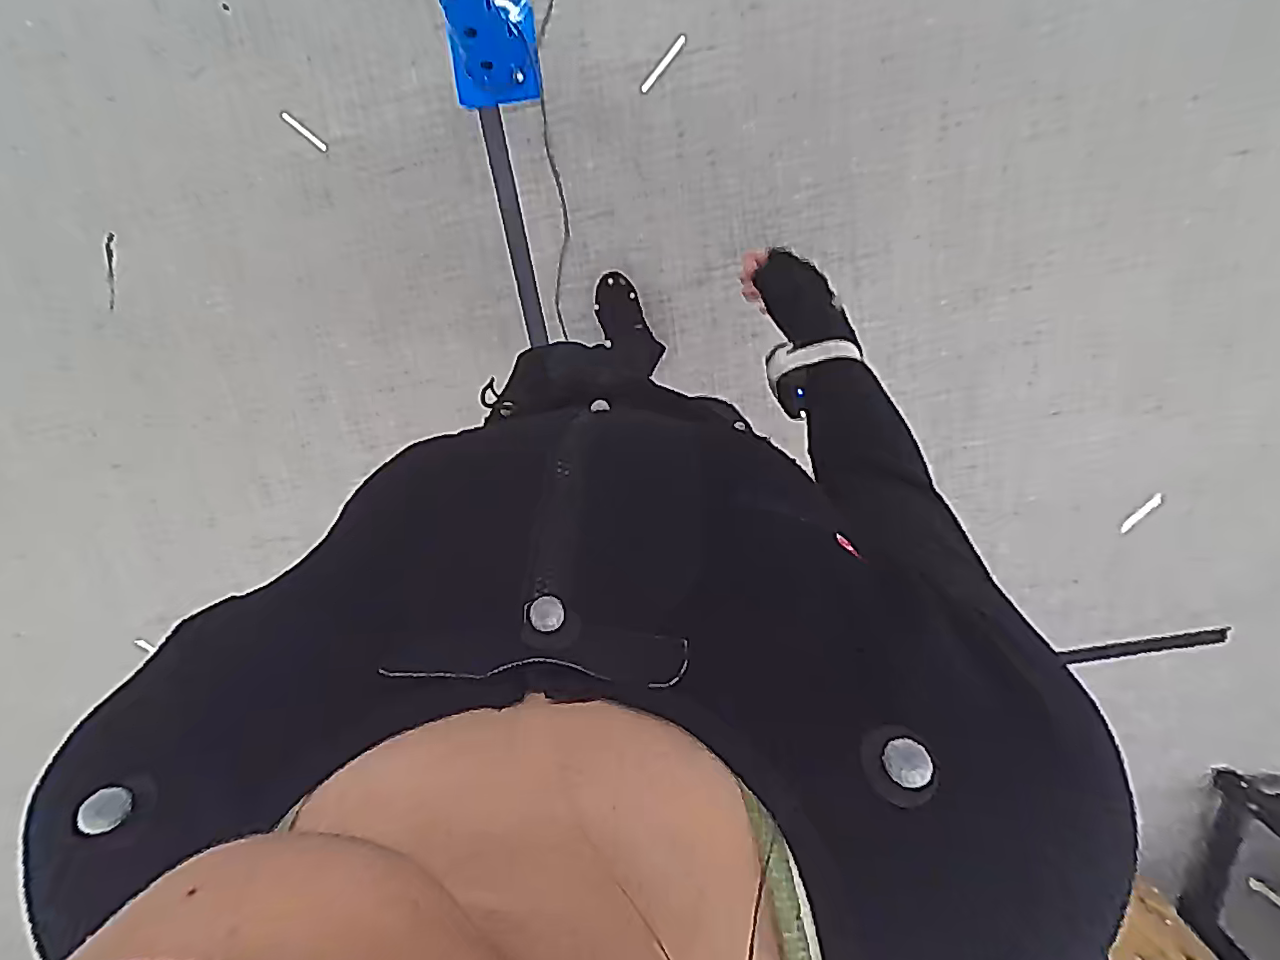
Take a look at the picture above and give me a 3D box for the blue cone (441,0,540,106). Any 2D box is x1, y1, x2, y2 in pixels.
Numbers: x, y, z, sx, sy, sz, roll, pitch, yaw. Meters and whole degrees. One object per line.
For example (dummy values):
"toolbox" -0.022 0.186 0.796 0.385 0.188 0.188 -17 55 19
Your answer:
"blue cone" -0.333 -0.911 1.045 0.193 0.380 0.192 -7 104 3
